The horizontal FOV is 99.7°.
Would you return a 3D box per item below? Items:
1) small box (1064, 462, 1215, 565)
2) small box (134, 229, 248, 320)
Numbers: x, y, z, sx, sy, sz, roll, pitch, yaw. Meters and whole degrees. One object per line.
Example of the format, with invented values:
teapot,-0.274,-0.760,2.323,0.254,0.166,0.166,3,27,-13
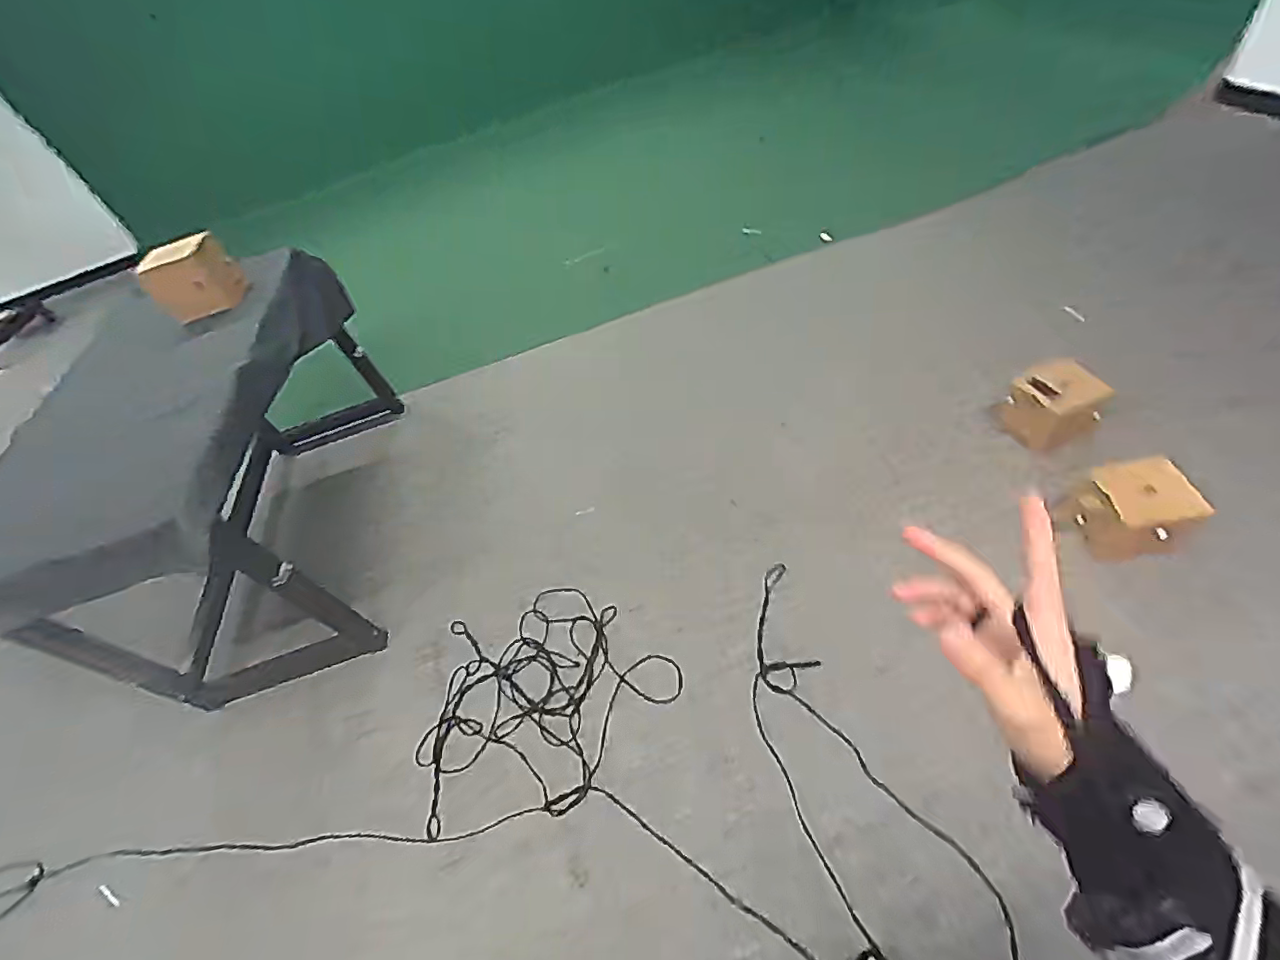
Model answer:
small box,1.168,0.084,1.285,0.179,0.176,0.168,-11,50,8
small box,-1.319,-0.608,1.606,0.179,0.176,0.168,-19,48,2
